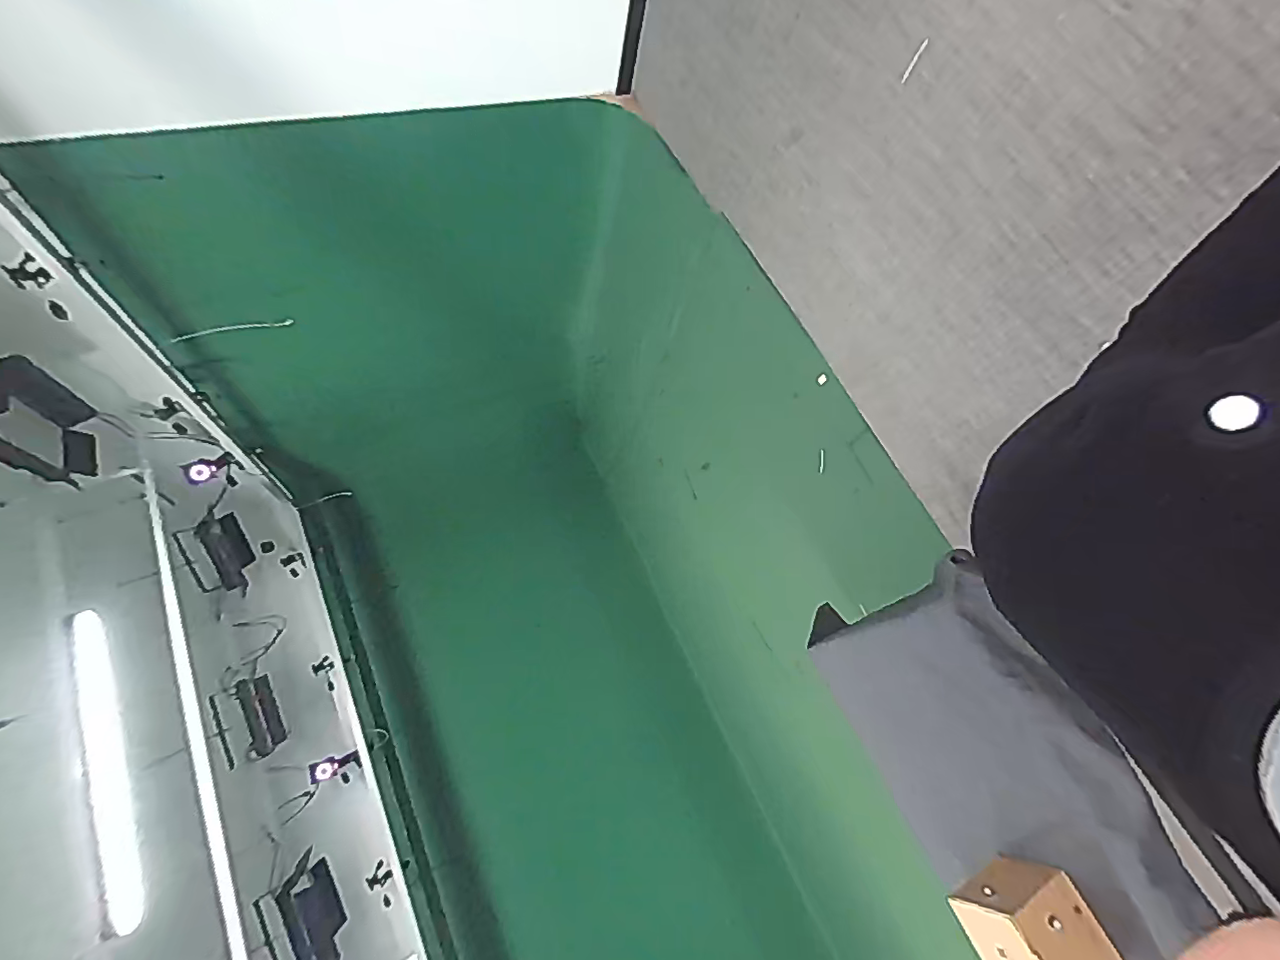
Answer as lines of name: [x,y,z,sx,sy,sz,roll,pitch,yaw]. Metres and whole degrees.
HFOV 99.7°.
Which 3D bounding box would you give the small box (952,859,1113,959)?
small box: [0.787,0.898,1.082,0.168,0.176,0.179,64,159,20]
